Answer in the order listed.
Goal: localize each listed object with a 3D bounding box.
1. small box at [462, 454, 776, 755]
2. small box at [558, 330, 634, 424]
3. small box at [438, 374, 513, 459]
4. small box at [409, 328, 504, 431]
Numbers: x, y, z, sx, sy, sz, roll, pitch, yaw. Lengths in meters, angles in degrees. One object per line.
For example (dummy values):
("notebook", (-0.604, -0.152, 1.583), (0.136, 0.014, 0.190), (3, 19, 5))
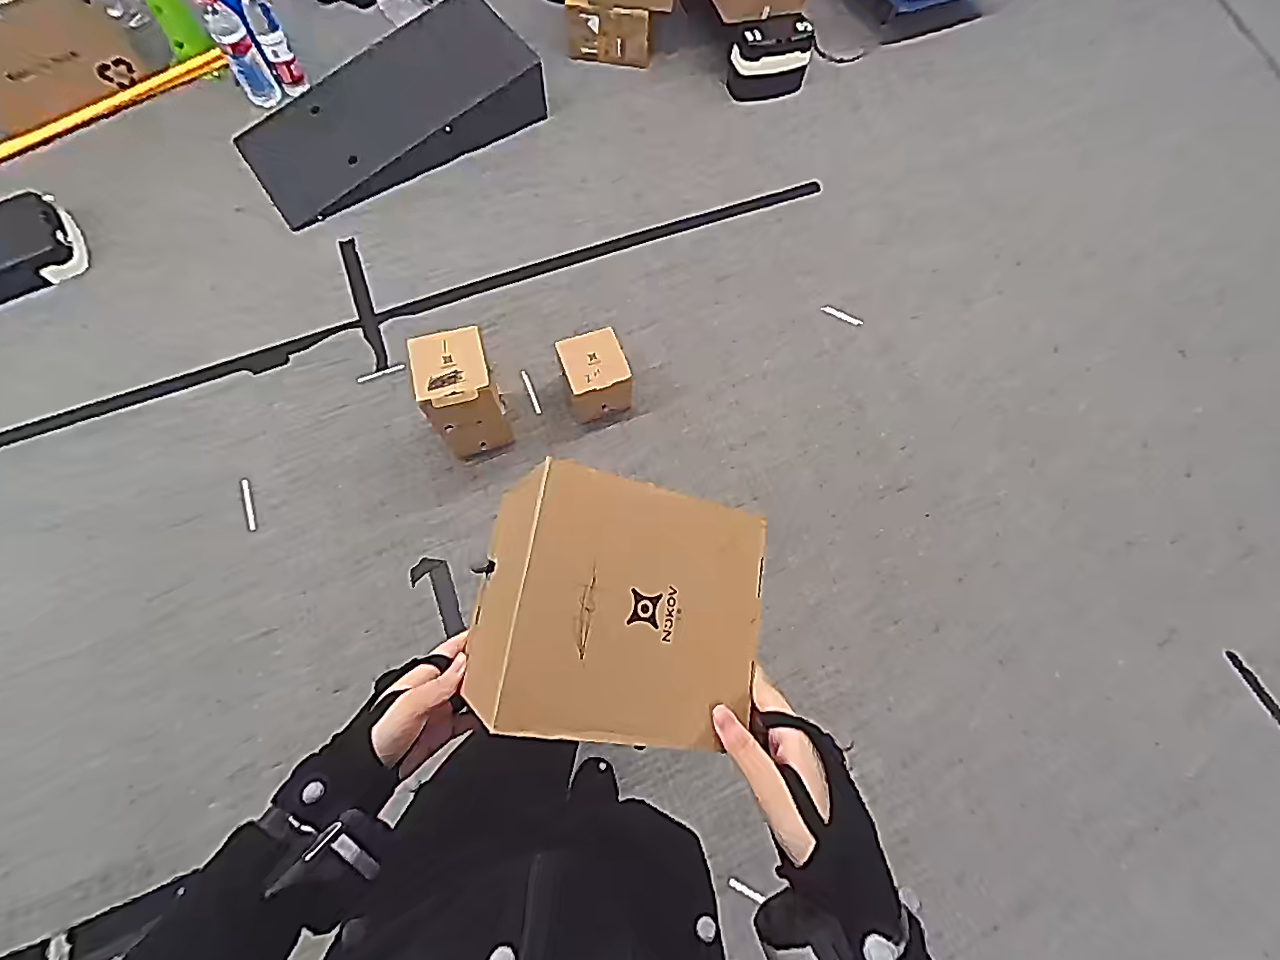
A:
("small box", (-0.023, 0.097, 0.420), (0.179, 0.176, 0.168), (17, 71, -21))
("small box", (-0.123, -0.284, 1.515), (0.168, 0.176, 0.179), (-18, 71, -9))
("small box", (-0.450, -0.177, 1.458), (0.179, 0.176, 0.168), (-18, 71, -10))
("small box", (-0.436, -0.233, 1.303), (0.168, 0.176, 0.179), (-14, 70, -8))
